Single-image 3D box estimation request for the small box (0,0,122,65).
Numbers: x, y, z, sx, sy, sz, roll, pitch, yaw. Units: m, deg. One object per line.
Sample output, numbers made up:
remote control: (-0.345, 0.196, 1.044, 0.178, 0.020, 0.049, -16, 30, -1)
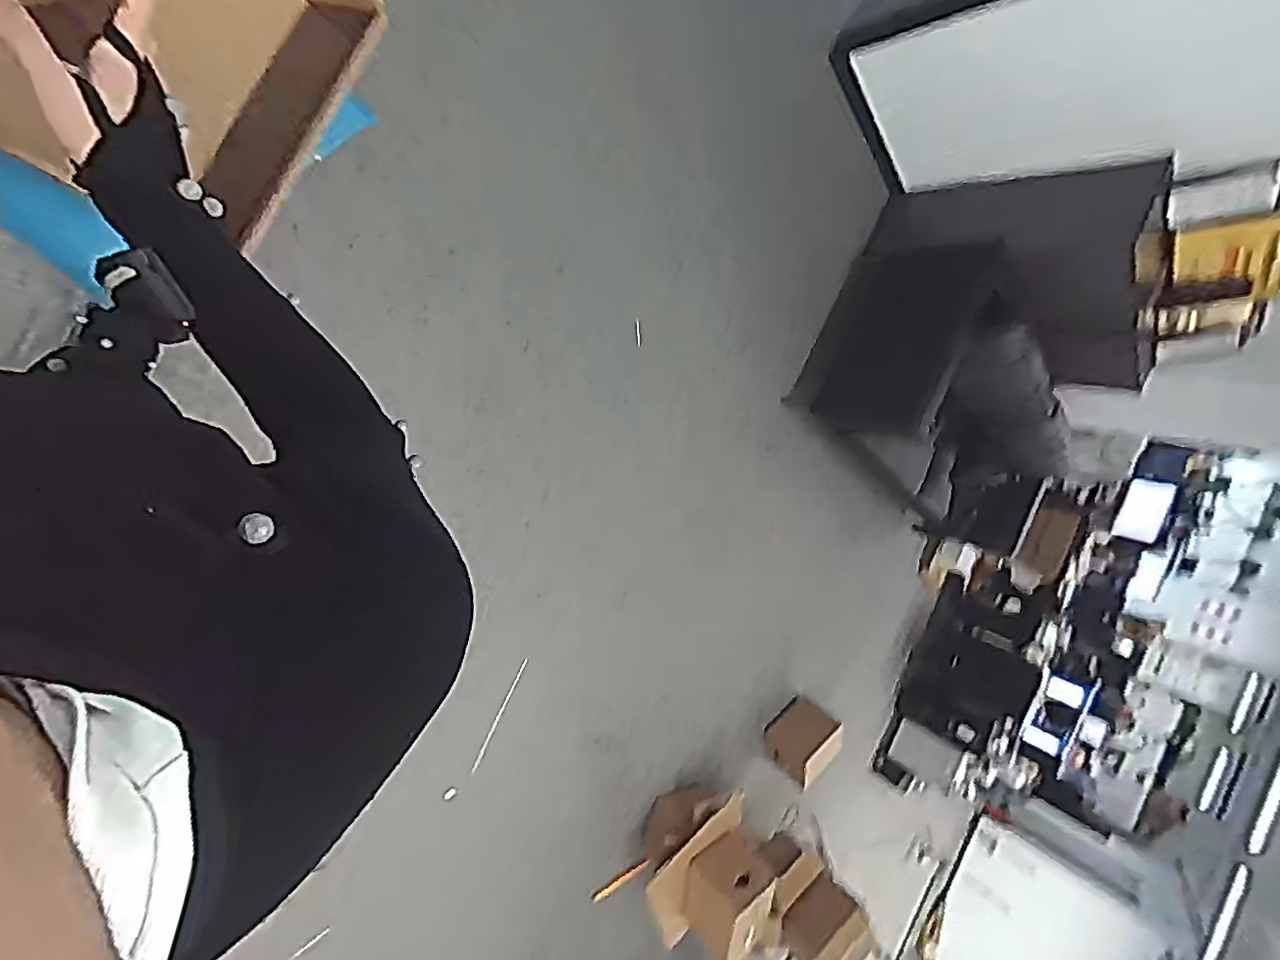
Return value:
small box: (-0.444, -0.423, 0.344, 0.179, 0.176, 0.168, 6, 86, -48)
